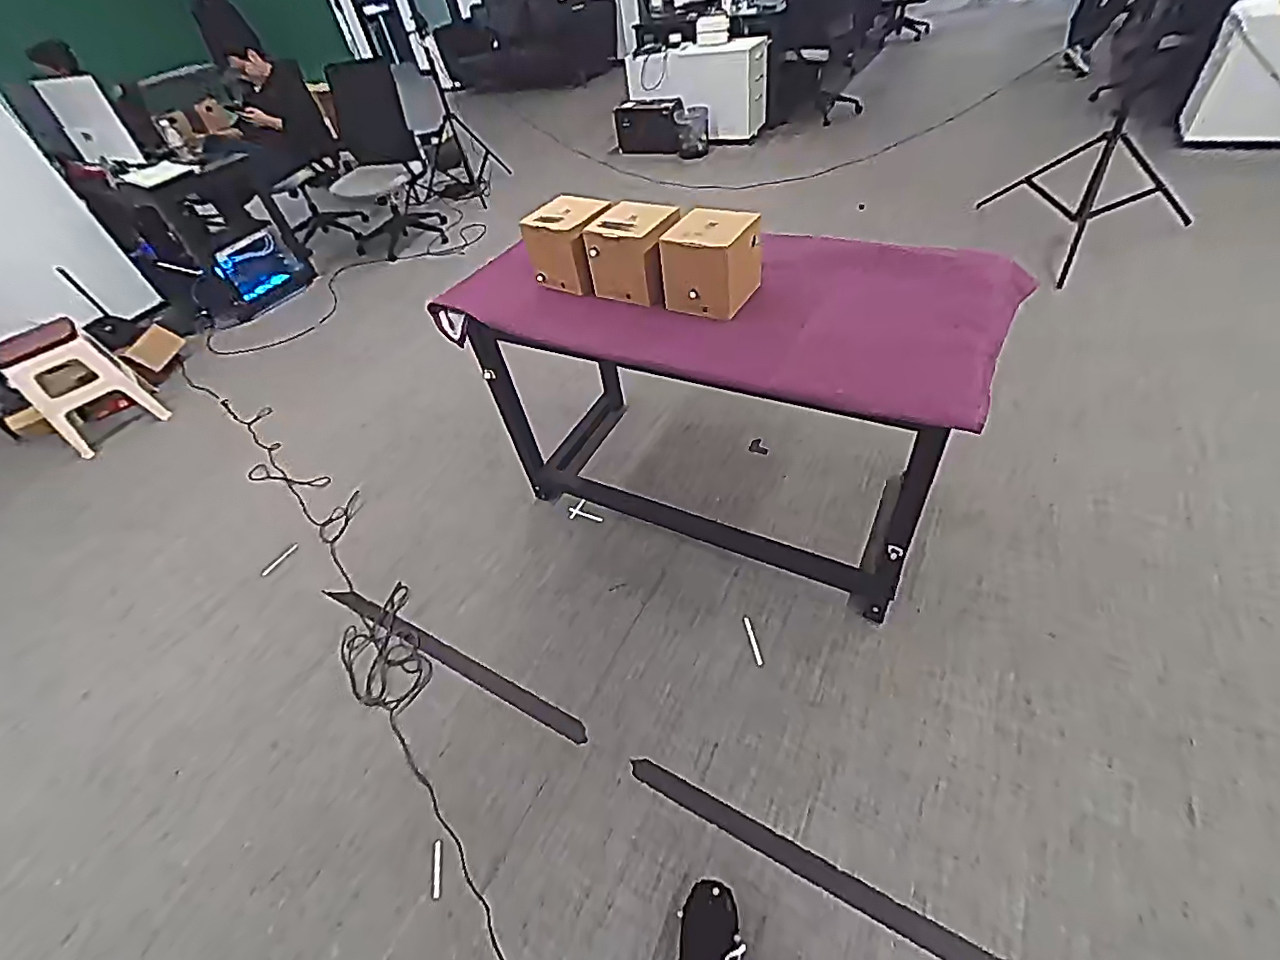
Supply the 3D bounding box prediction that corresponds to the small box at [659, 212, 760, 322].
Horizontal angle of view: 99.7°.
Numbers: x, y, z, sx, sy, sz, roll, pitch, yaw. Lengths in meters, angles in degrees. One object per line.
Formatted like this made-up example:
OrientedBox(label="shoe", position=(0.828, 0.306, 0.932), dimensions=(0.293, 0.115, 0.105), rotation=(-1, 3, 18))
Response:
OrientedBox(label="small box", position=(0.160, -0.486, 1.232), dimensions=(0.168, 0.176, 0.179), rotation=(19, 53, 27))
